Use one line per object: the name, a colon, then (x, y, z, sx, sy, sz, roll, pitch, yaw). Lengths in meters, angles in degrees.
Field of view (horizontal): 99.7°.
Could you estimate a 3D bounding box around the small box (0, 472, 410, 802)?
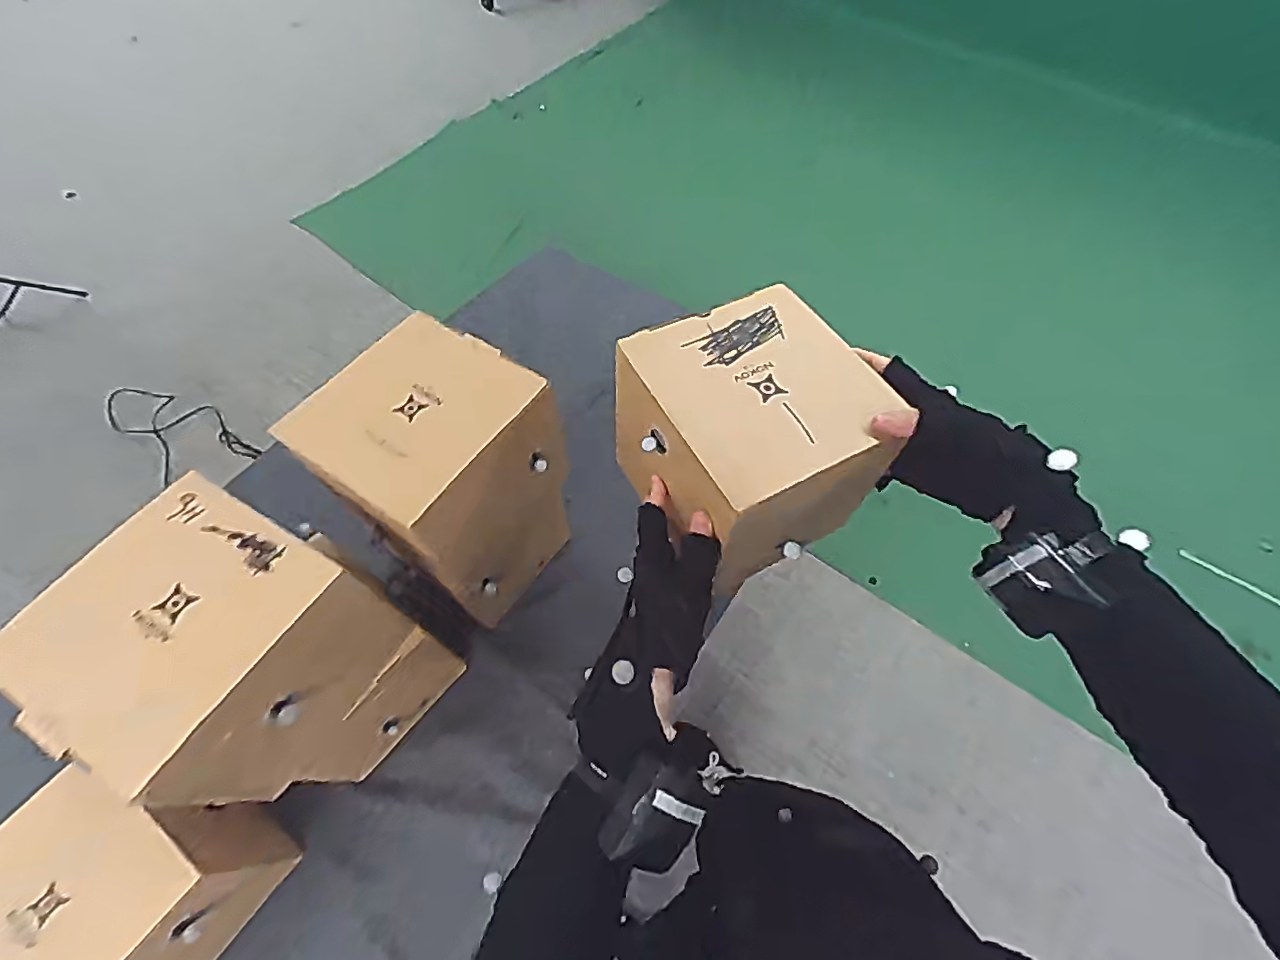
small box: (-0.329, 0.132, 0.450, 0.168, 0.176, 0.179, 28, 65, 13)
